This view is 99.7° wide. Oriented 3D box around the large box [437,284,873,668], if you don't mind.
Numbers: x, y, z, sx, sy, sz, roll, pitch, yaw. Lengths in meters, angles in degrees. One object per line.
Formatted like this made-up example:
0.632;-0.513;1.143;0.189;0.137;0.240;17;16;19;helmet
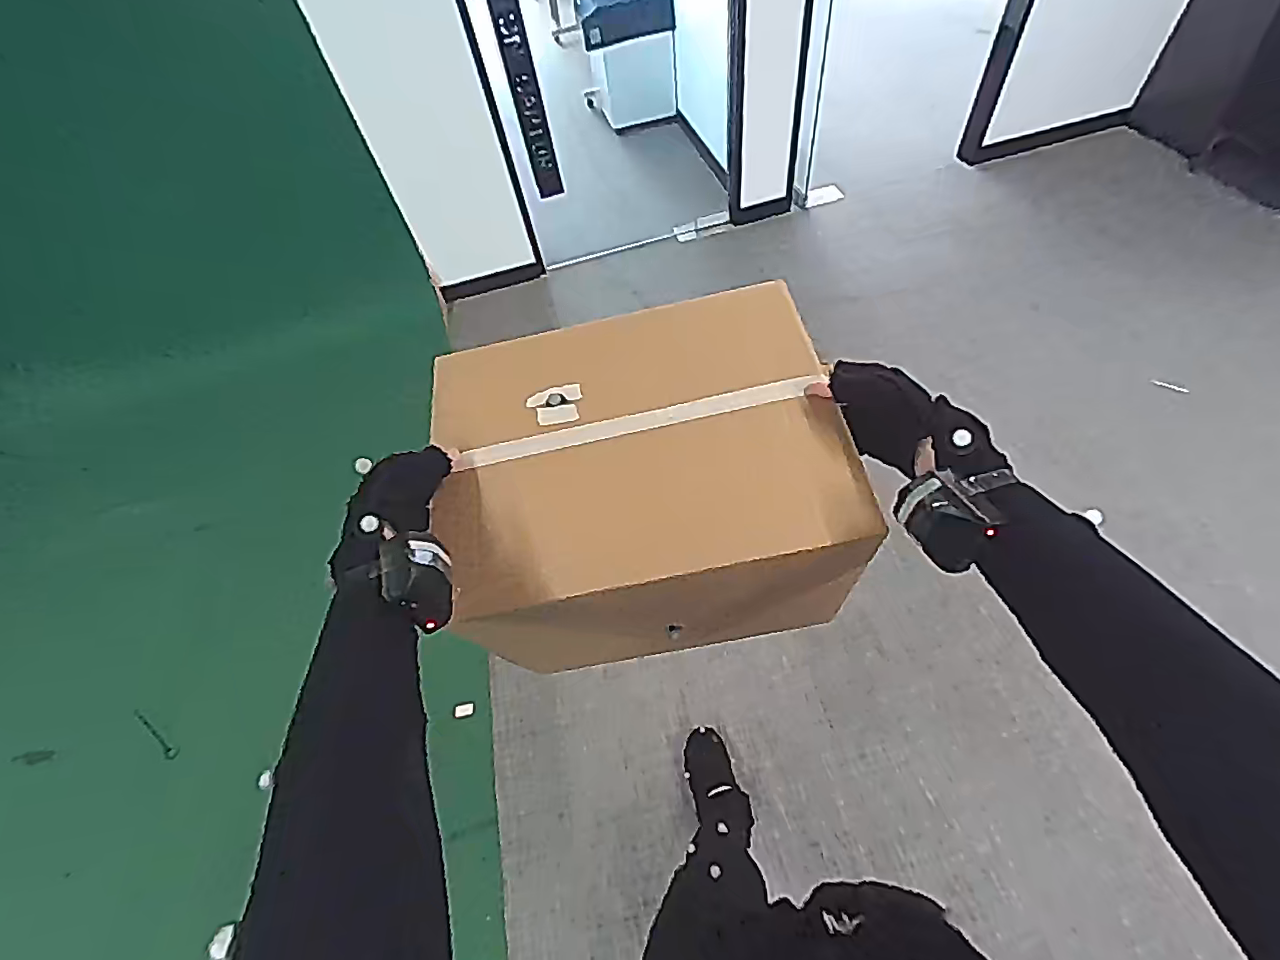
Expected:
0.011;0.021;0.676;0.408;0.320;0.320;-12;60;4;large box
